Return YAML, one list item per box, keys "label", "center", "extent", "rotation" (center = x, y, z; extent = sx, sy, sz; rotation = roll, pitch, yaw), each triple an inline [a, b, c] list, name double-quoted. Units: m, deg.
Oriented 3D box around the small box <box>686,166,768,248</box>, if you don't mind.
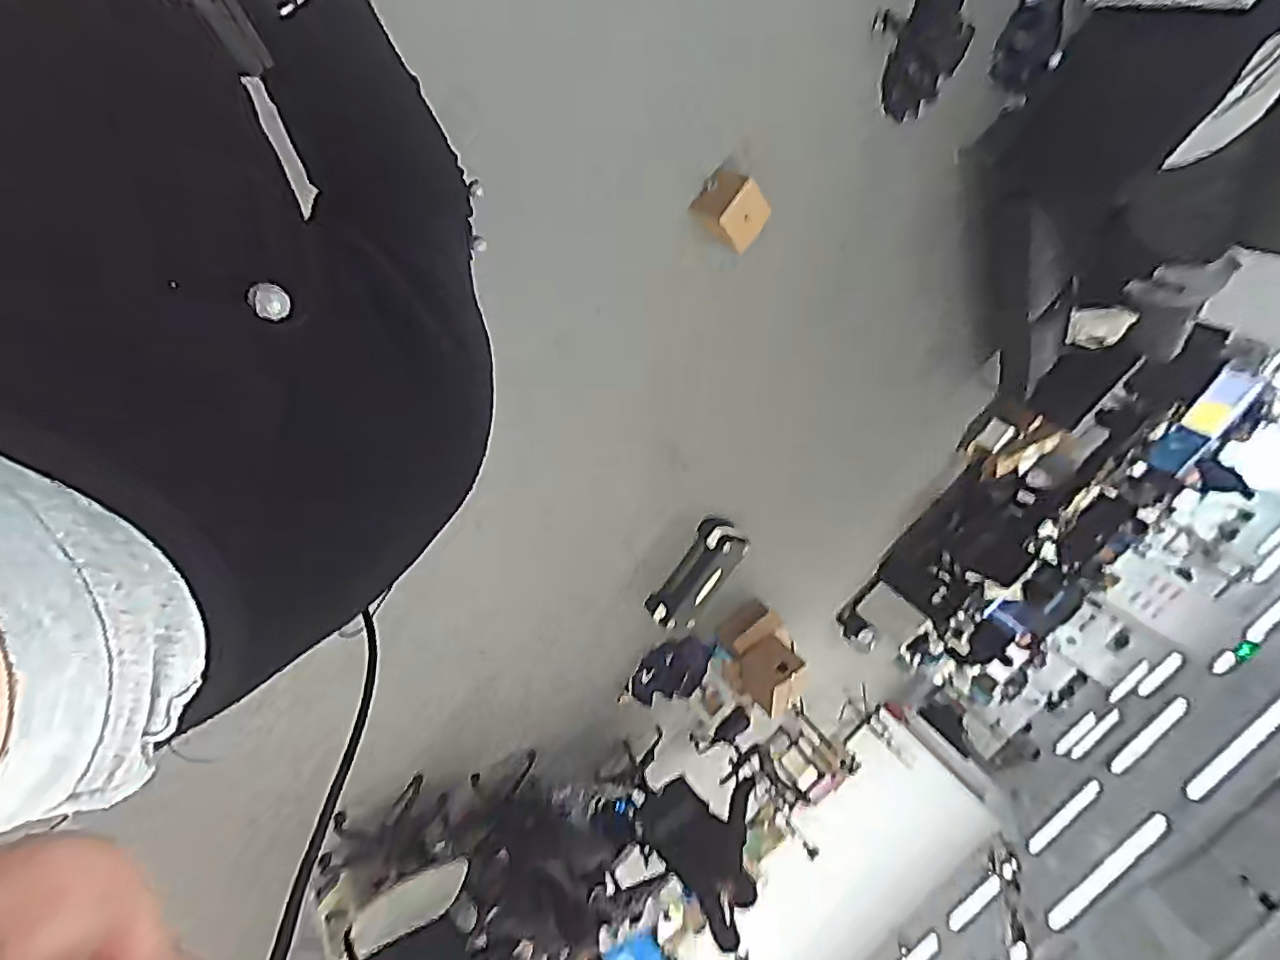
- label: "small box"
  center: [0.288, -0.916, 1.808]
  extent: [0.168, 0.176, 0.179]
  rotation: [-54, 140, 8]
